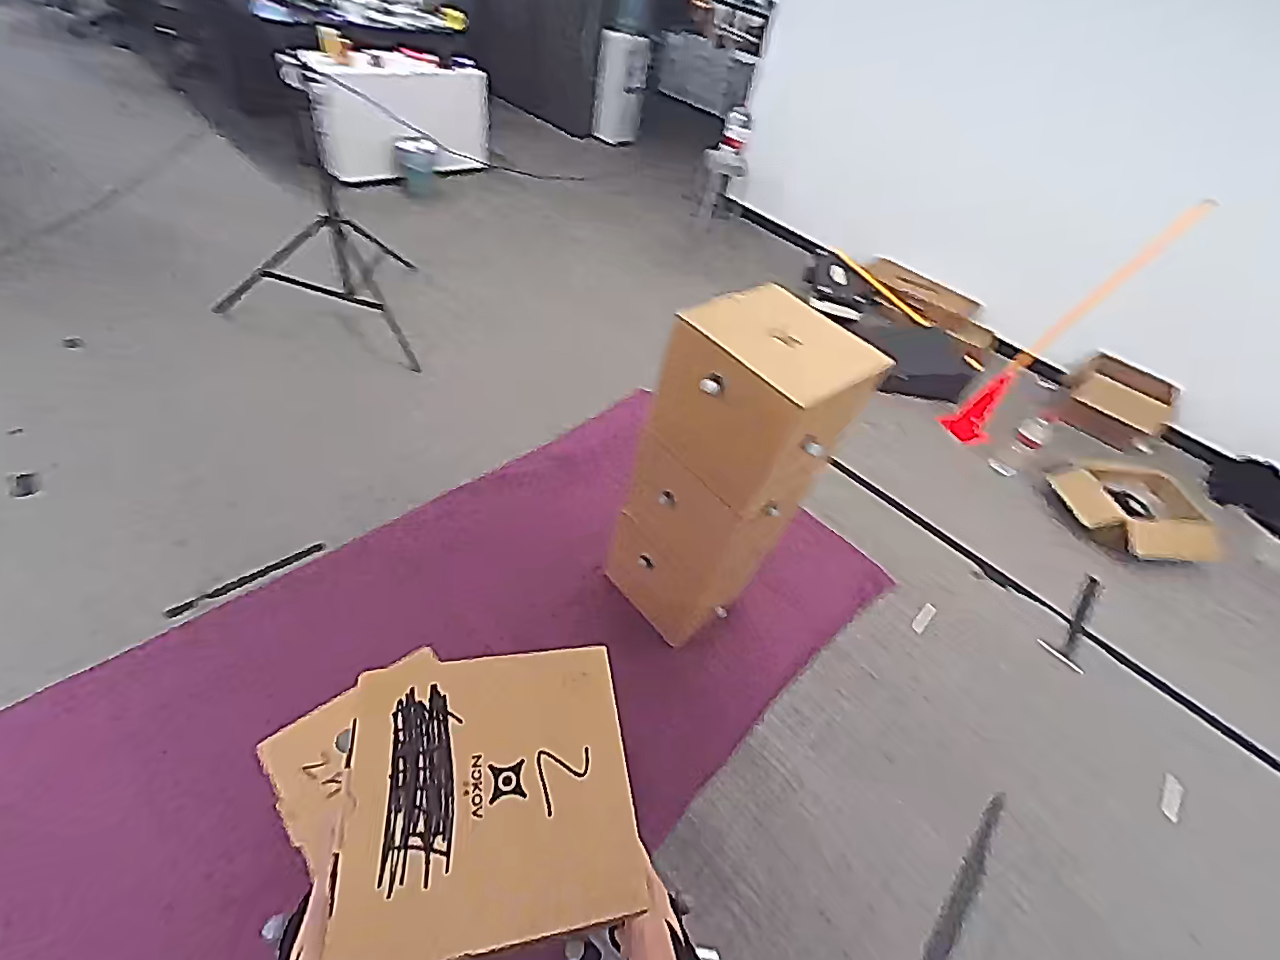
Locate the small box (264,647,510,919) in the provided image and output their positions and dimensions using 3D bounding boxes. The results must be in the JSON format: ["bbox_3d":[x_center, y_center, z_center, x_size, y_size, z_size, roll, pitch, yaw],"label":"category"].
[{"bbox_3d":[-0.260,0.325,0.586,0.179,0.176,0.168,-29,59,-34],"label":"small box"}]

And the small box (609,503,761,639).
[{"bbox_3d":[0.068,0.117,0.864,0.168,0.176,0.179,-30,60,-34],"label":"small box"}]

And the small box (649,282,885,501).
[{"bbox_3d":[0.134,-0.098,0.626,0.168,0.176,0.179,-28,58,-33],"label":"small box"}]

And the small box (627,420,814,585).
[{"bbox_3d":[0.100,0.009,0.745,0.168,0.176,0.179,-27,58,-33],"label":"small box"}]
